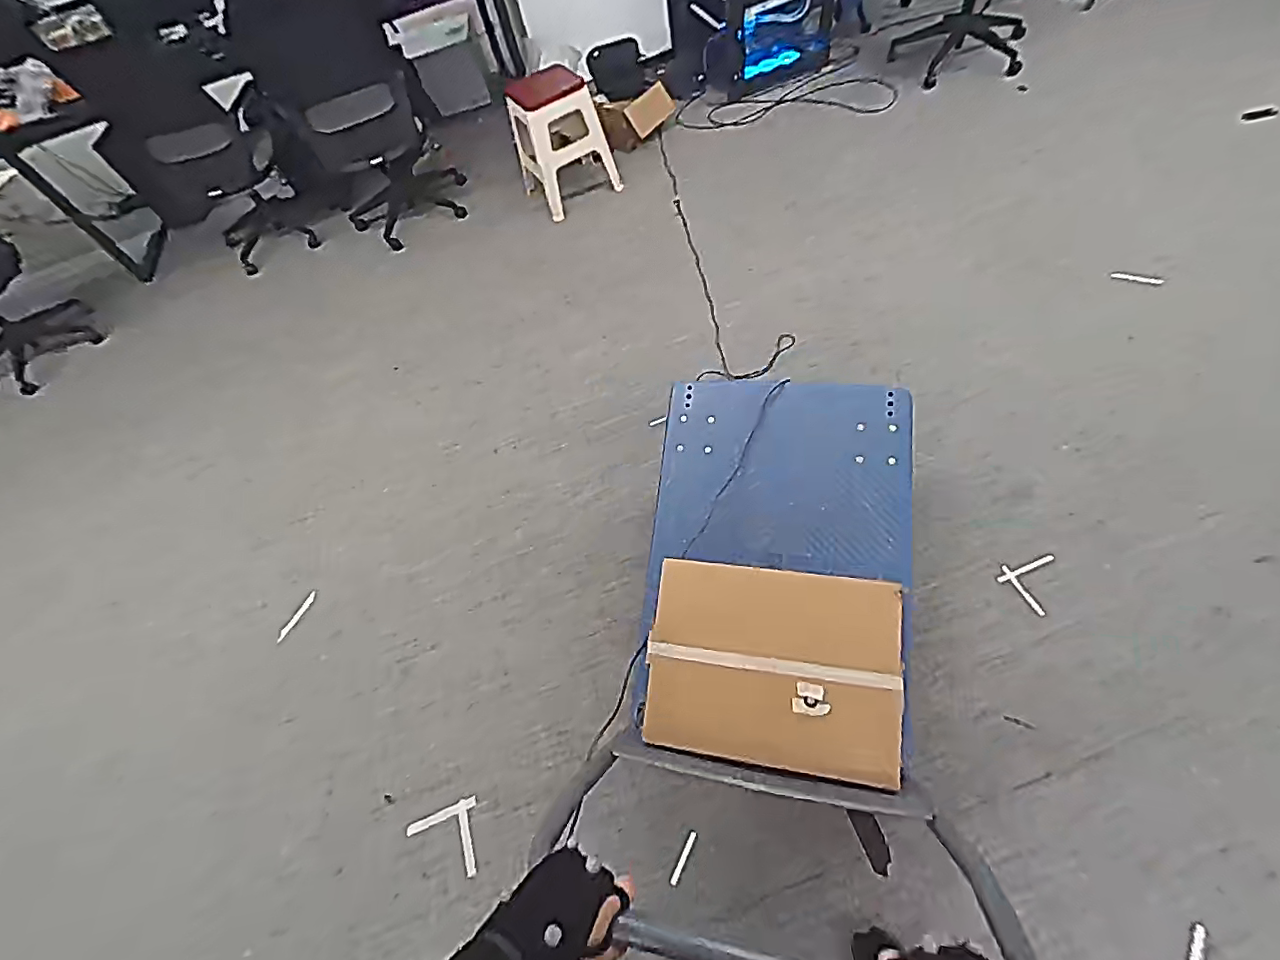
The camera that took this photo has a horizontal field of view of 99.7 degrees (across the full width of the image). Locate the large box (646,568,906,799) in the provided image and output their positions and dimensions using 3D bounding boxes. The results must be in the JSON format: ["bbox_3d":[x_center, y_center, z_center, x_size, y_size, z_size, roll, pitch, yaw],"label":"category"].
[{"bbox_3d":[0.245,0.356,1.019,0.408,0.320,0.320,5,76,13],"label":"large box"}]
